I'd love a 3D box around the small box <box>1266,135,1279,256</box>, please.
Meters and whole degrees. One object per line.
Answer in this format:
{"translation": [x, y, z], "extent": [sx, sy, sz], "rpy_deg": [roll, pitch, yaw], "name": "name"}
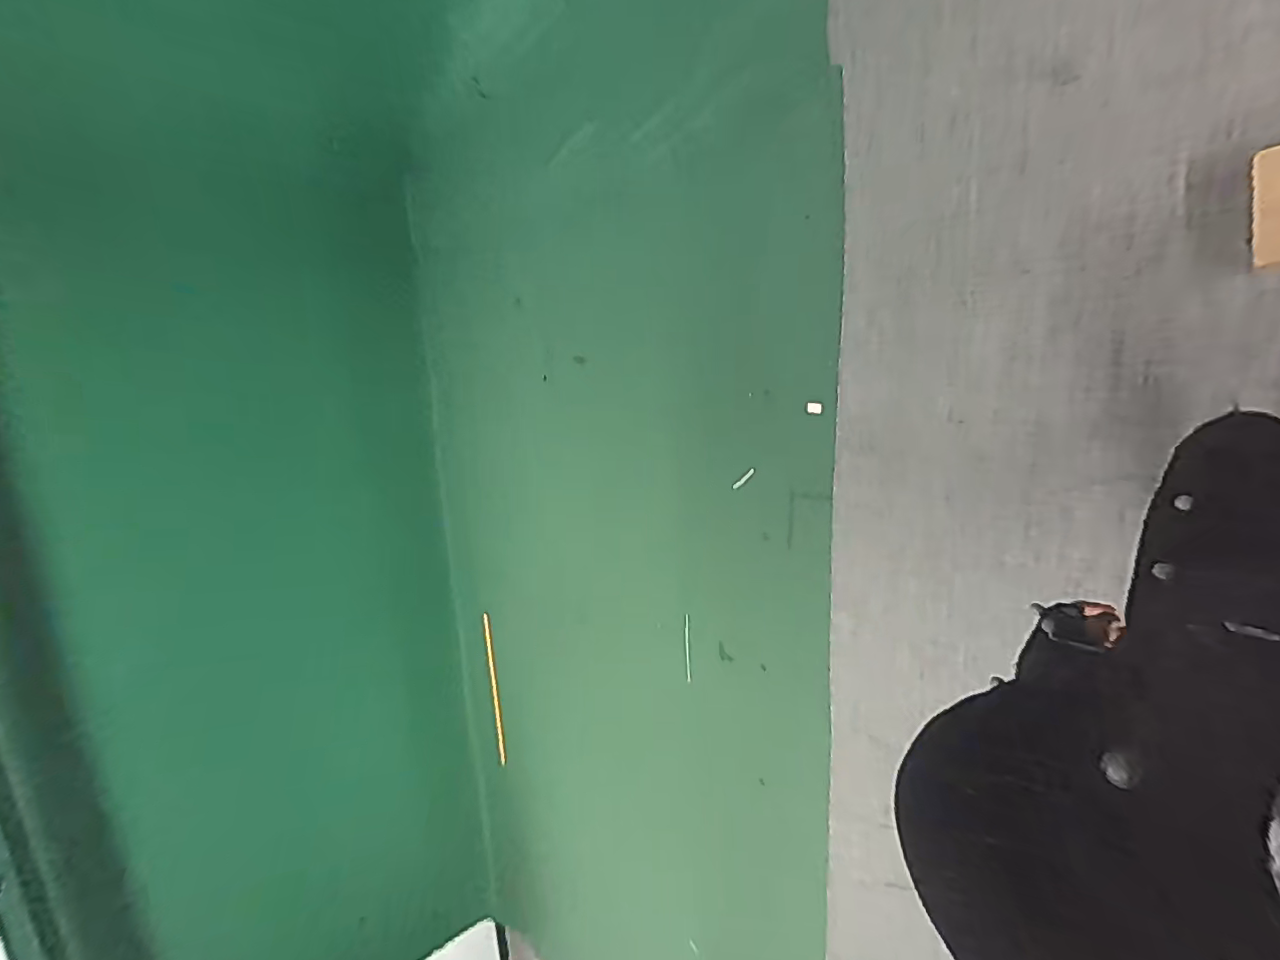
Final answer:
{"translation": [1.090, -0.454, 0.827], "extent": [0.168, 0.176, 0.179], "rpy_deg": [1, 101, 50], "name": "small box"}
